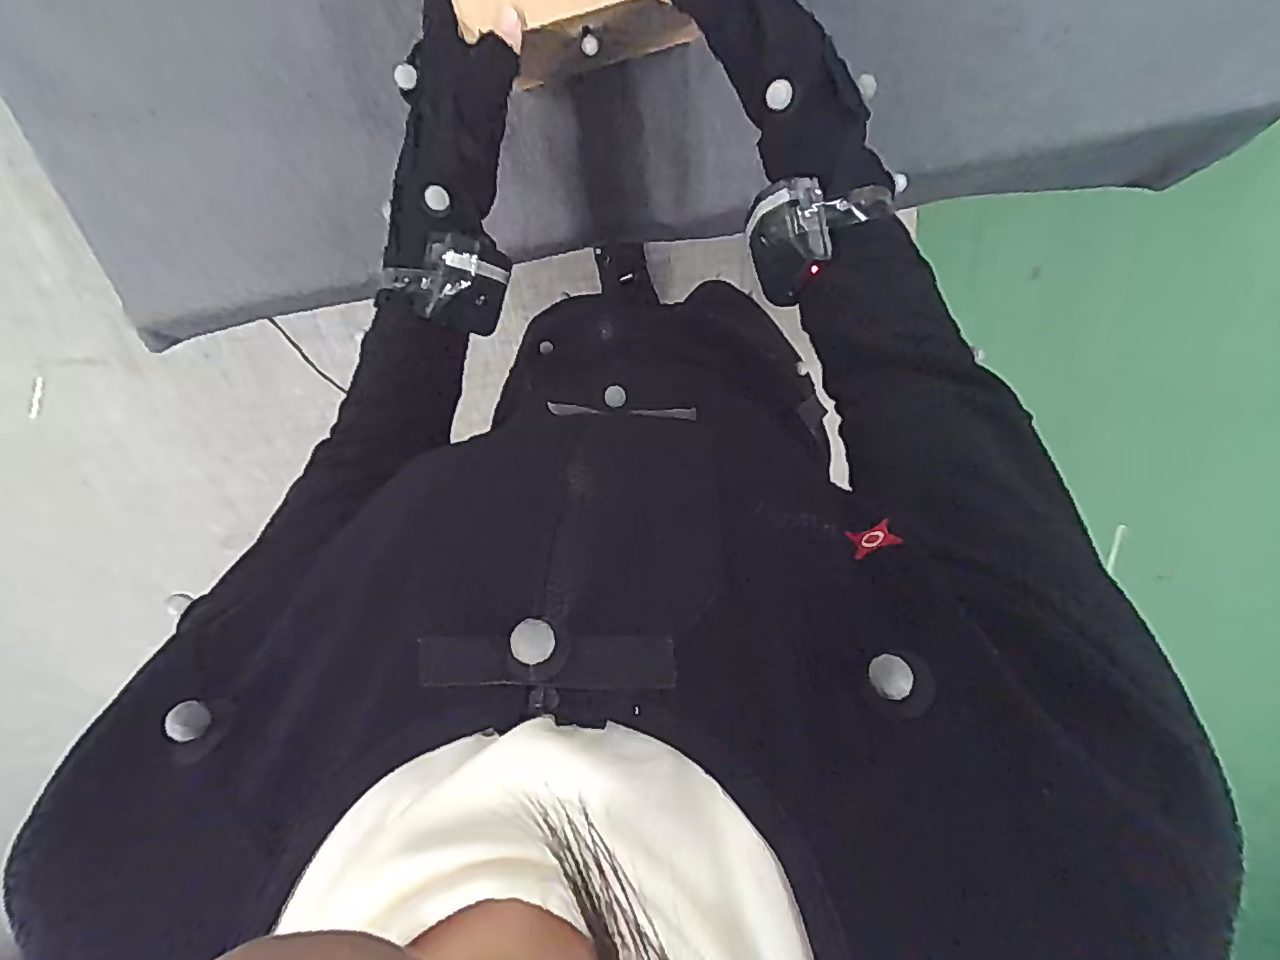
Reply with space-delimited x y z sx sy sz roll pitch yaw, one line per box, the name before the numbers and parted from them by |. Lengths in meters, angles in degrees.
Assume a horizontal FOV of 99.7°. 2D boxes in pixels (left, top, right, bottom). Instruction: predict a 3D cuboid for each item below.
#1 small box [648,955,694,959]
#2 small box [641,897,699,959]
small box | 0.120 1.746 1.828 0.168 0.176 0.179 -17 116 8
small box | 0.113 1.666 1.971 0.179 0.176 0.168 -19 116 10
